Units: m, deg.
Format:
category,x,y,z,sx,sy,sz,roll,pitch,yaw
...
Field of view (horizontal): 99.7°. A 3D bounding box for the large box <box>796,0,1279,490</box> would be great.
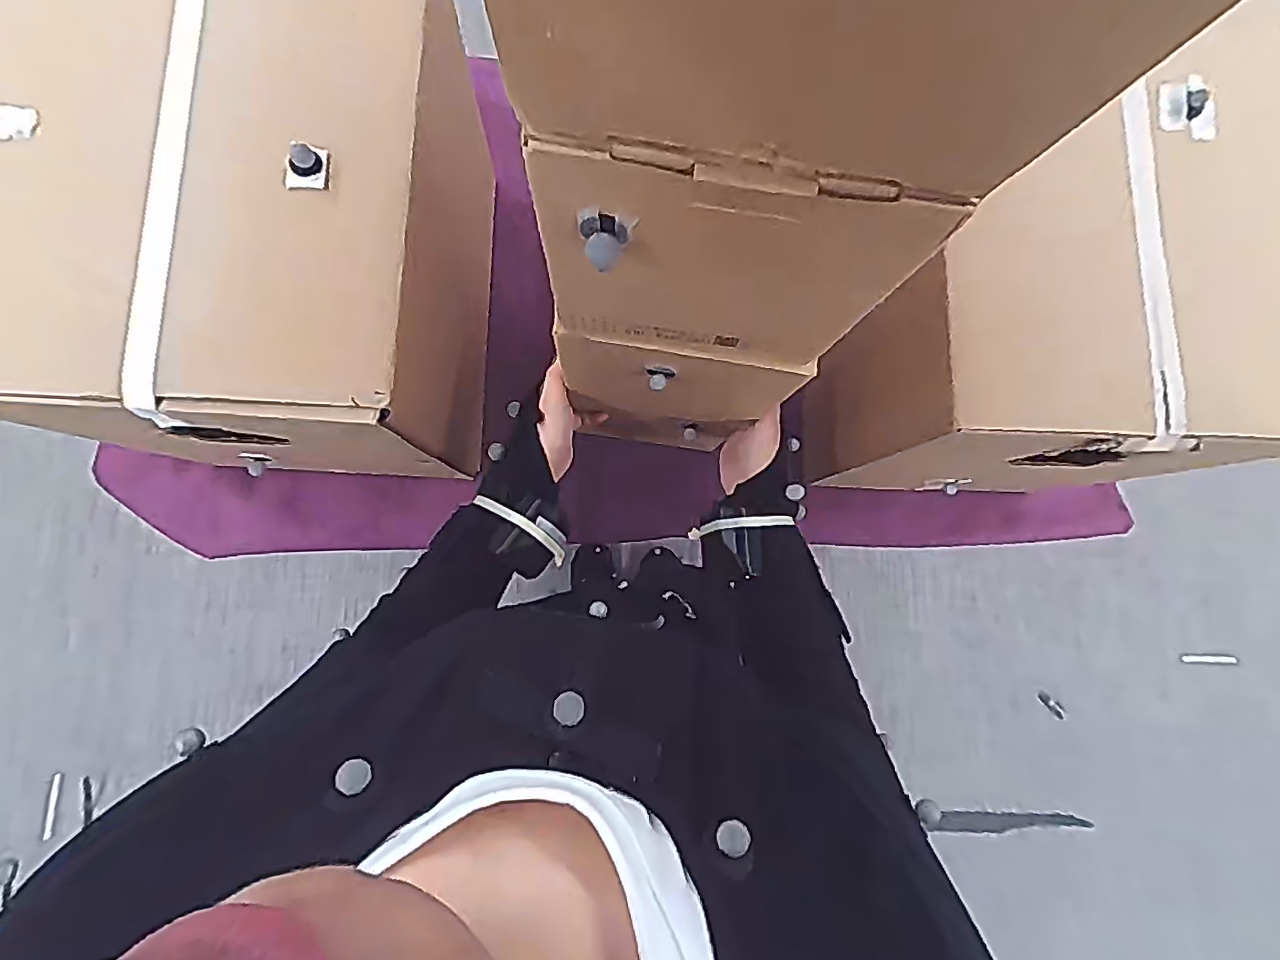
category,x,y,z,sx,sy,sz,roll,pitch,yaw
large box,0.369,-0.206,0.570,0.320,0.320,0.408,1,81,-4
